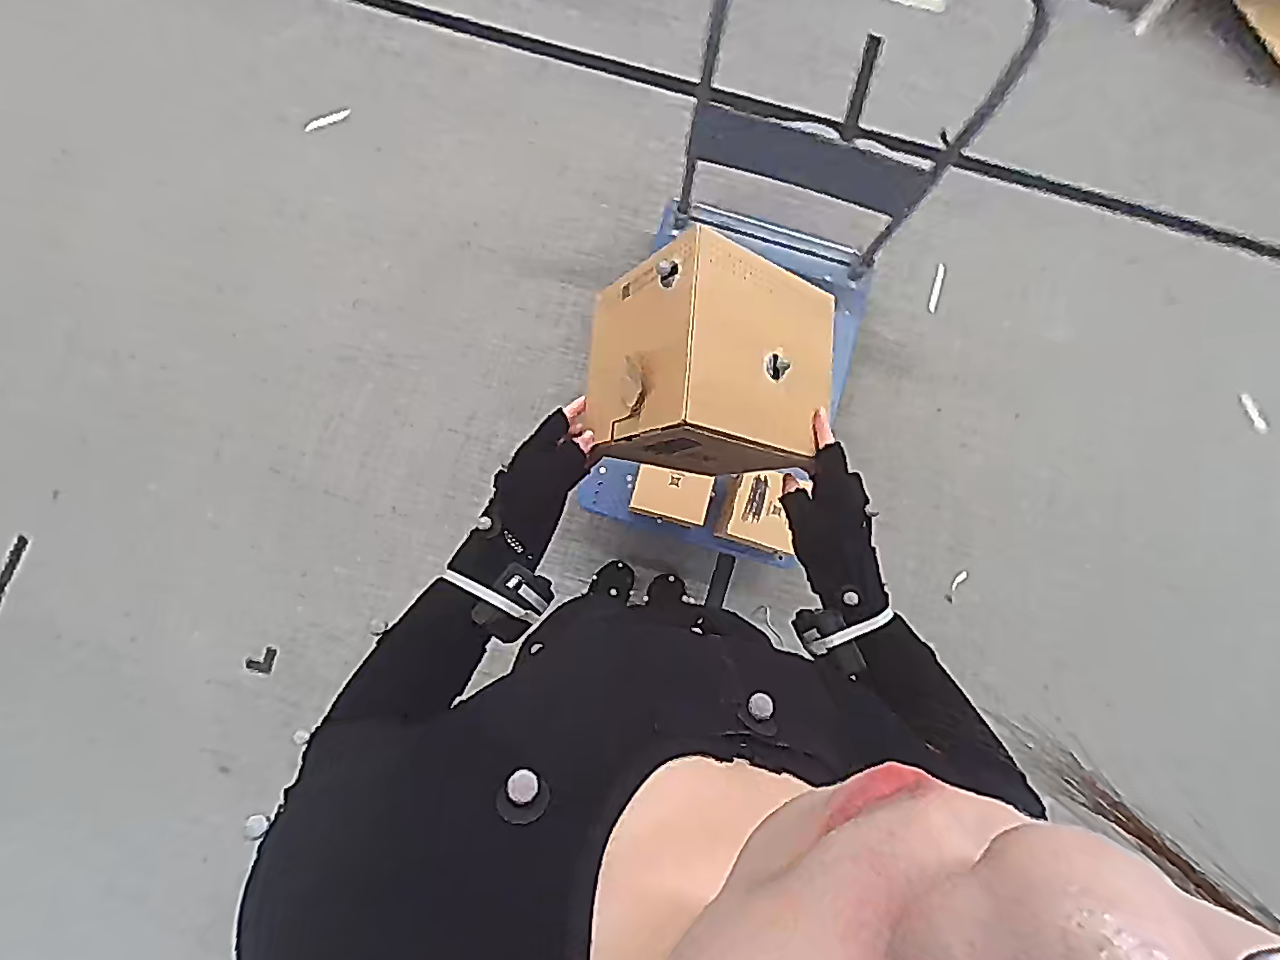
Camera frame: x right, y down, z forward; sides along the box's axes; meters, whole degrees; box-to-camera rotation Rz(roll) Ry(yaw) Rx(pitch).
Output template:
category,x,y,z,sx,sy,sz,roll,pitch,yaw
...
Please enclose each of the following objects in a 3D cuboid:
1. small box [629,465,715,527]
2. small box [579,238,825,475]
category,x,y,z,sx,sy,sz,roll,pitch,yaw
small box,0.075,0.007,1.267,0.168,0.176,0.179,15,83,-1
small box,0.059,-0.106,0.526,0.179,0.168,0.176,8,81,-34
